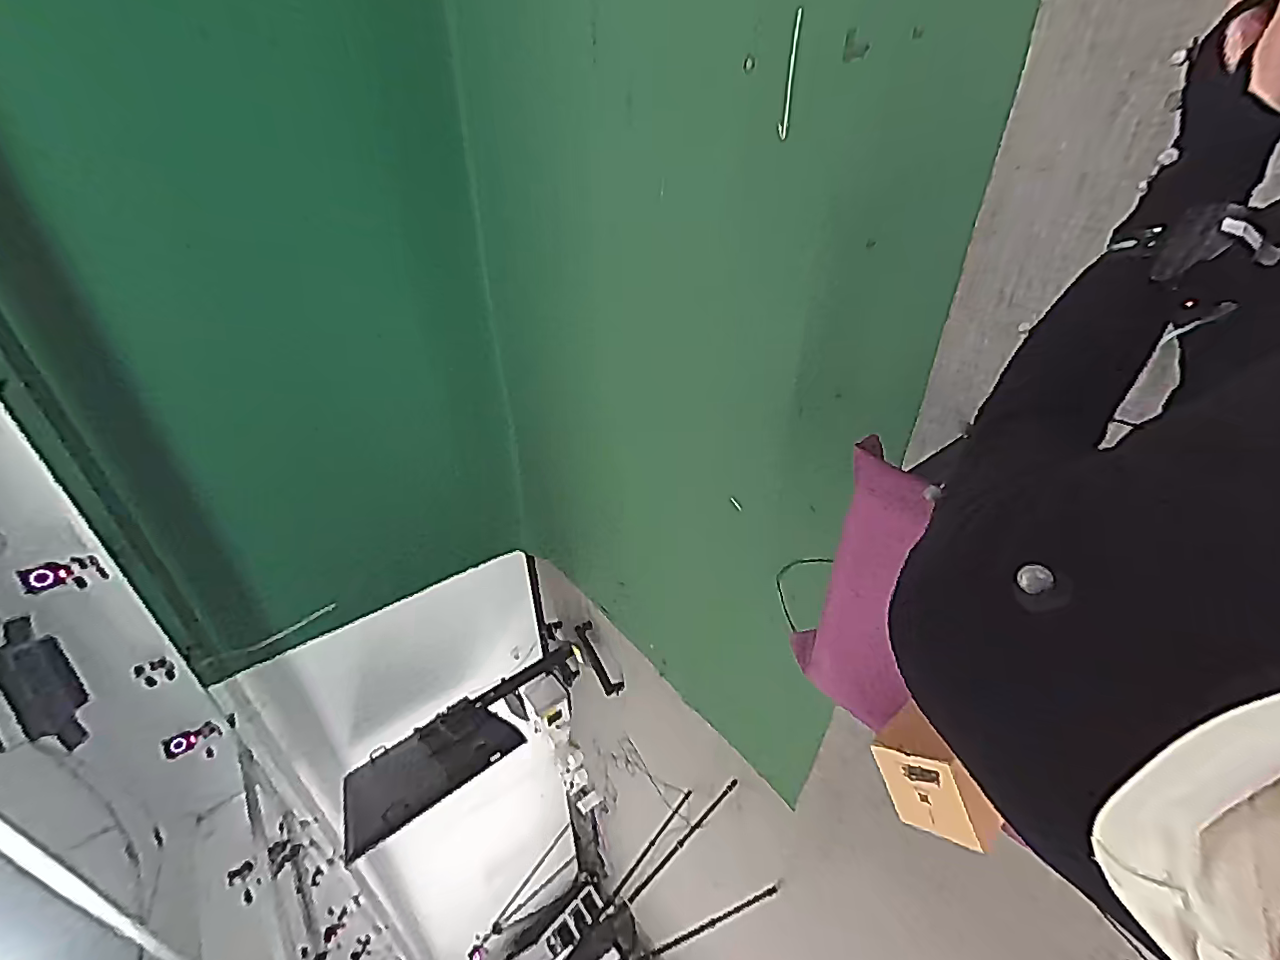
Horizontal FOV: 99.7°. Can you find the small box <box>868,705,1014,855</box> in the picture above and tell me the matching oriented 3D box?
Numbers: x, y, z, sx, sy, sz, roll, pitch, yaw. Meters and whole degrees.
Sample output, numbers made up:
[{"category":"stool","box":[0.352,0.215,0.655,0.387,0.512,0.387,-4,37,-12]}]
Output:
[{"category":"small box","box":[0.591,0.572,1.063,0.168,0.176,0.179,-20,93,57]}]
